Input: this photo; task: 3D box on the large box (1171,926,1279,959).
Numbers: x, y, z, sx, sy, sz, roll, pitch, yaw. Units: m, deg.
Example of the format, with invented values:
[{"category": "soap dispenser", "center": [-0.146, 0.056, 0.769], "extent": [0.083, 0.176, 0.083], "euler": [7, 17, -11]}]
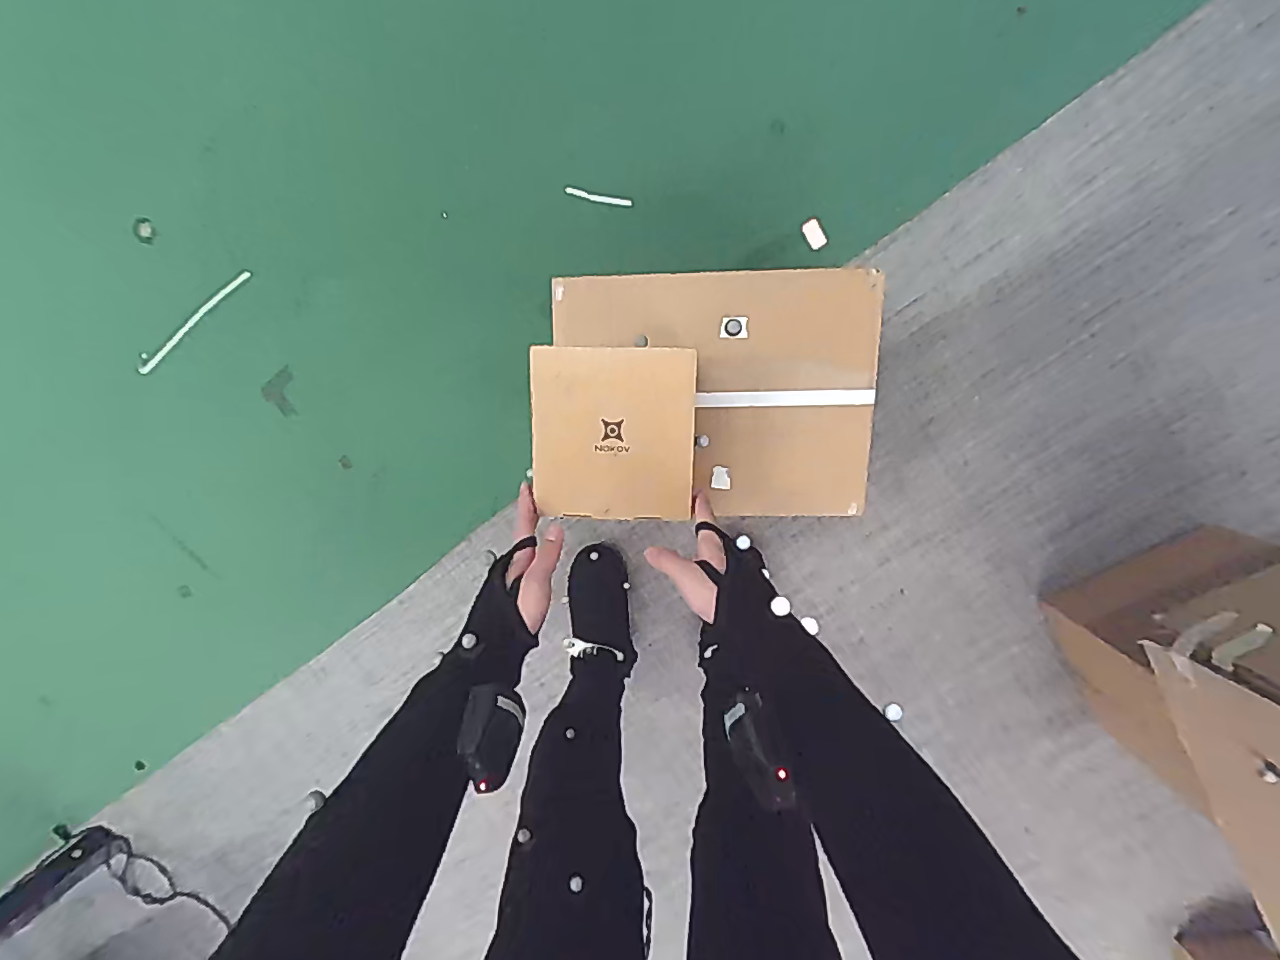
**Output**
[{"category": "large box", "center": [1.284, 1.142, 0.994], "extent": [0.320, 0.320, 0.408], "euler": [-12, 99, 7]}]

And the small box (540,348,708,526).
[{"category": "small box", "center": [-0.014, -0.057, 0.616], "extent": [0.168, 0.176, 0.179], "euler": [1, 103, 3]}]
